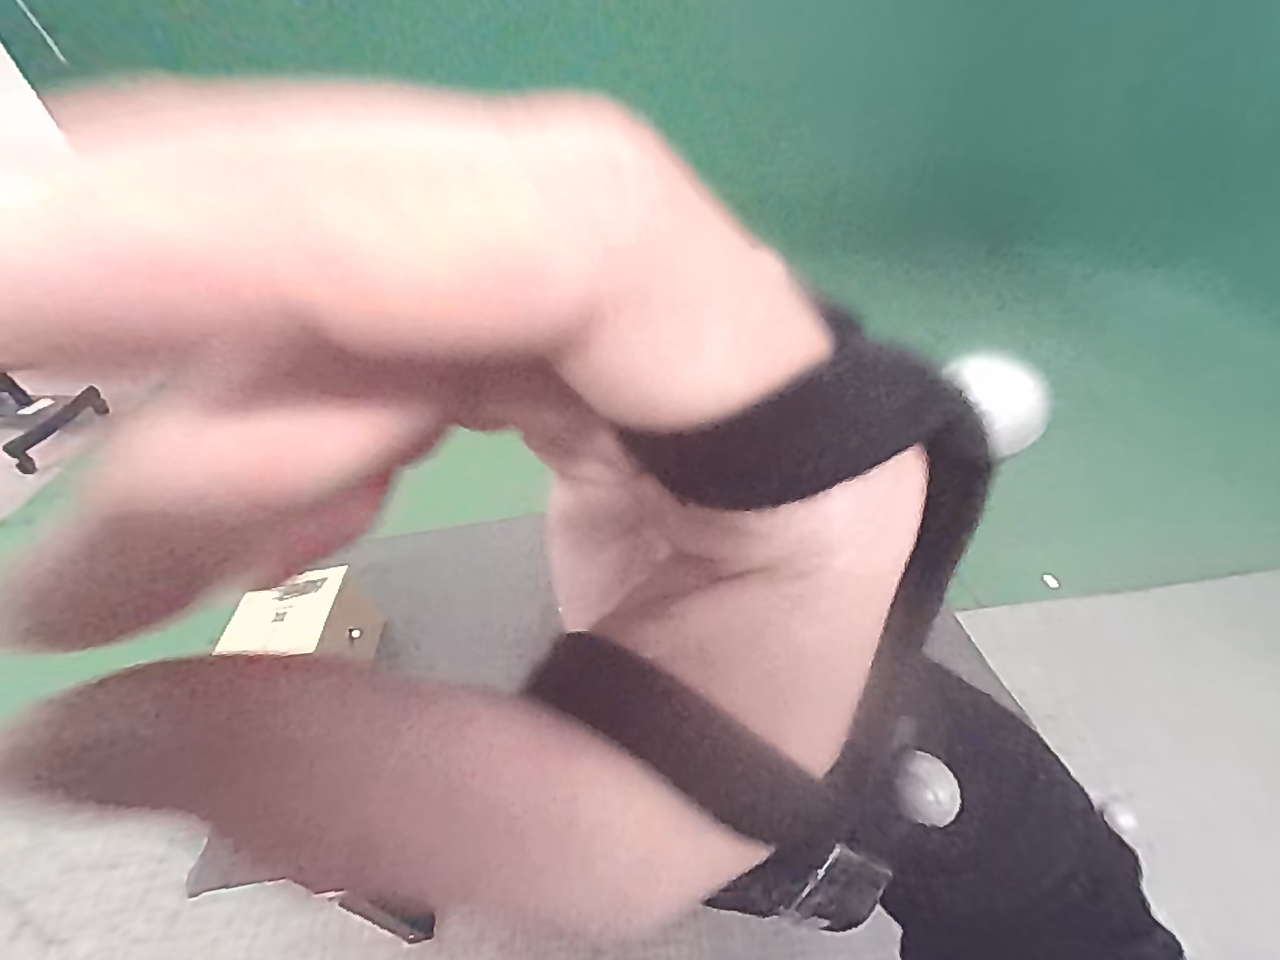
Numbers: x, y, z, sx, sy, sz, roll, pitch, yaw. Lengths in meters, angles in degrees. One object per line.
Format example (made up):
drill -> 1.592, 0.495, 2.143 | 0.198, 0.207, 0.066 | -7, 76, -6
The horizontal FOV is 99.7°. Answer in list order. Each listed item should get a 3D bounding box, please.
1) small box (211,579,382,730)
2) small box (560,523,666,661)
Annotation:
small box -> -0.570, 0.299, 0.930 | 0.168, 0.176, 0.179 | -8, 41, -2
small box -> -0.049, 0.206, 0.971 | 0.168, 0.176, 0.179 | -8, 39, -3
